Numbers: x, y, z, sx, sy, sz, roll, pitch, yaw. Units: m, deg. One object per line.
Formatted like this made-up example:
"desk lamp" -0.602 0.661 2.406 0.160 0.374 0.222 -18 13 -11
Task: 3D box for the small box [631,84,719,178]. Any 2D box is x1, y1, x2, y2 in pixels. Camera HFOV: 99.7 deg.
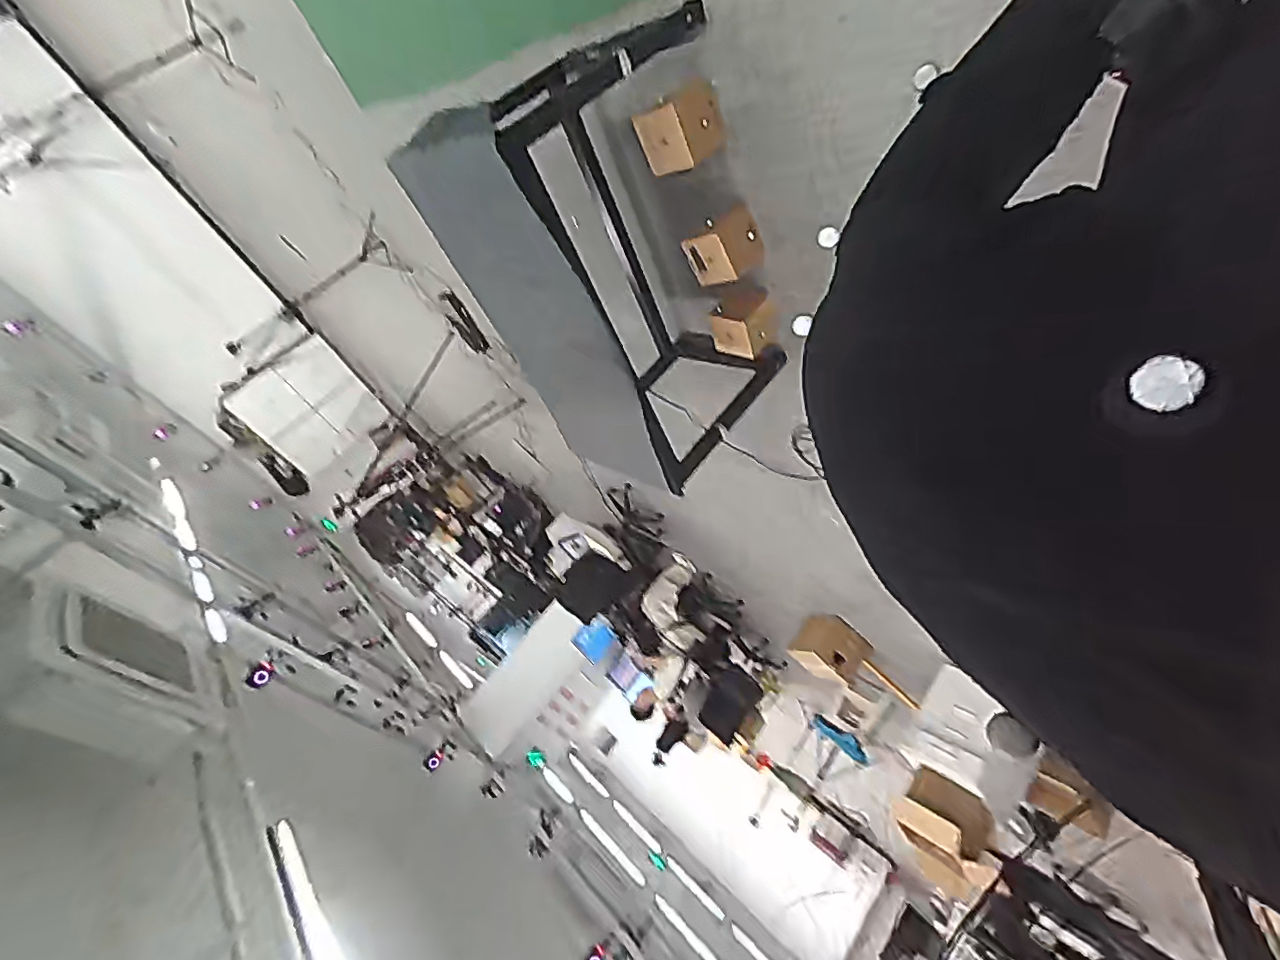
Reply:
"small box" 0.112 -1.023 1.588 0.179 0.176 0.168 20 150 45

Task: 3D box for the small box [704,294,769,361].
"small box" 0.371 -0.578 2.032 0.179 0.176 0.168 26 155 38
